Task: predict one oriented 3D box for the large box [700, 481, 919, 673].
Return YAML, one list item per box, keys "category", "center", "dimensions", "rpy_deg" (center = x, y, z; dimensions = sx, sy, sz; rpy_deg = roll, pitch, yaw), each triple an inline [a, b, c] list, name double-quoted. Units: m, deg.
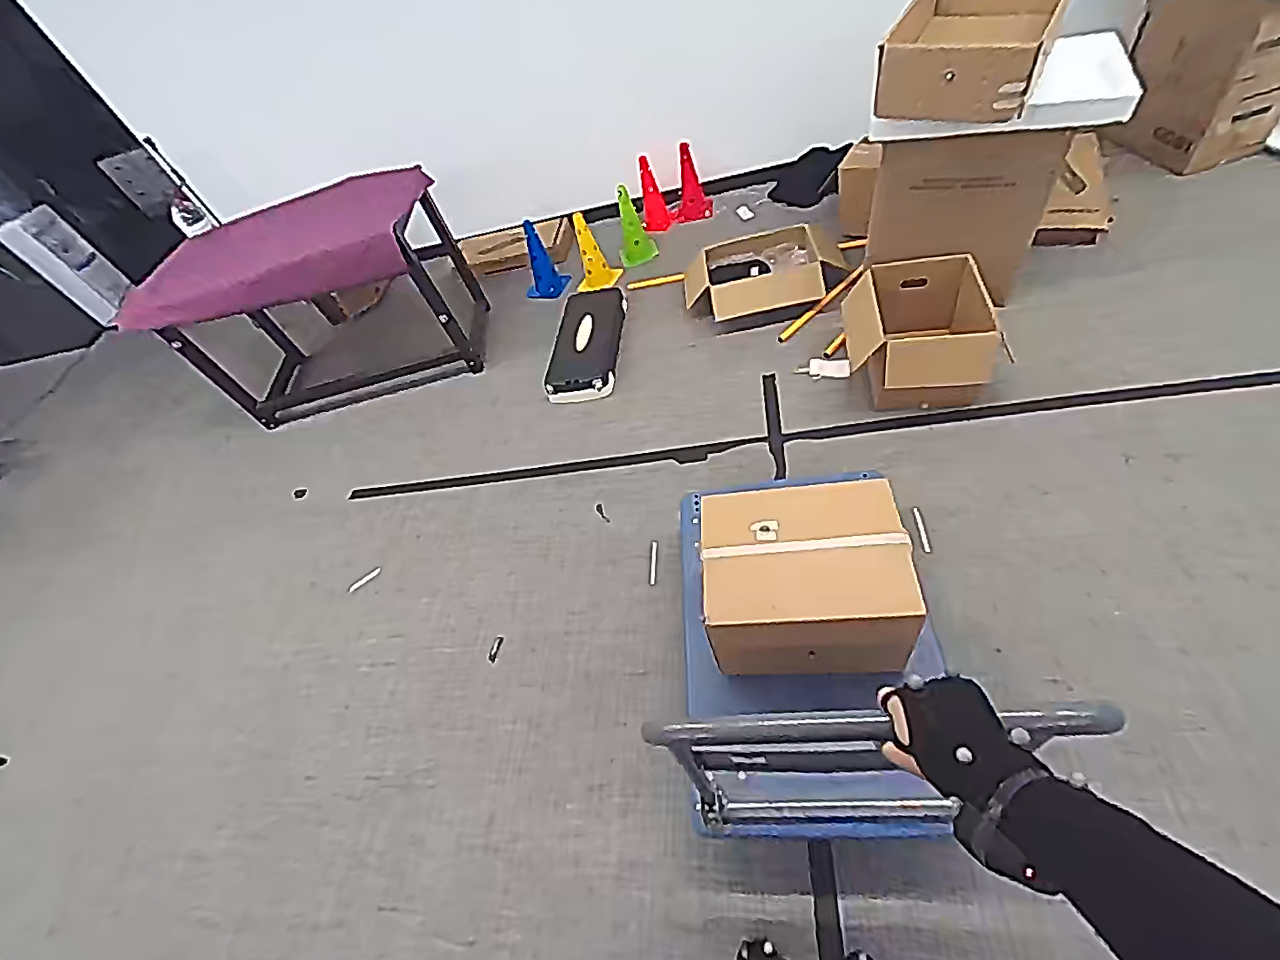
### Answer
- category: "large box"
  center: [0.365, 0.234, 1.236]
  dimensions: [0.408, 0.320, 0.320]
  rpy_deg: [-7, 50, 13]
